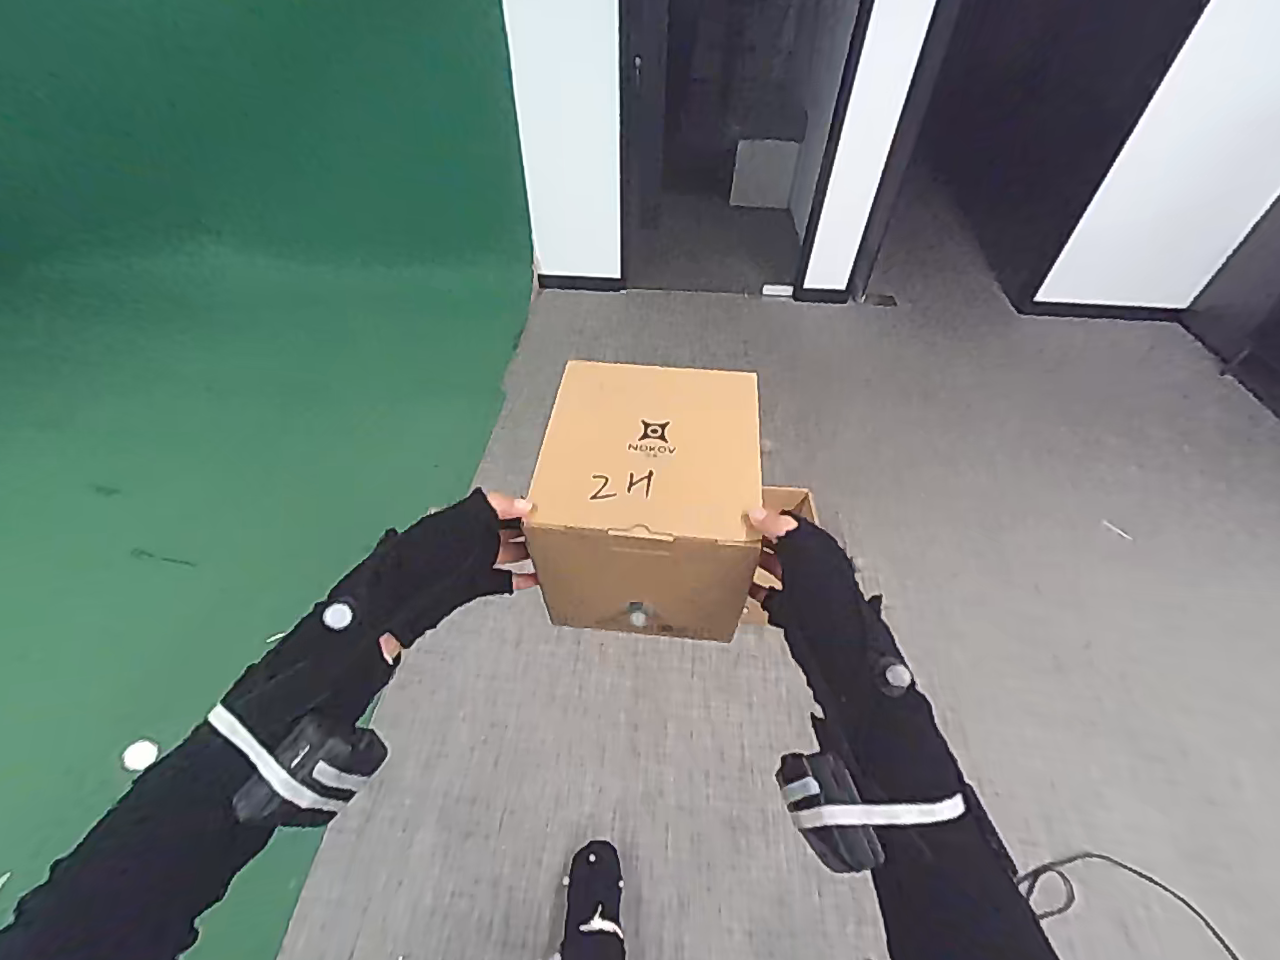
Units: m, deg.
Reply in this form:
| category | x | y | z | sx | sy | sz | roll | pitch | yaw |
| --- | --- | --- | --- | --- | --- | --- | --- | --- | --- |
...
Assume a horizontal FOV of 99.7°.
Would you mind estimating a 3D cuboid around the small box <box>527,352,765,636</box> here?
| category | x | y | z | sx | sy | sz | roll | pitch | yaw |
| --- | --- | --- | --- | --- | --- | --- | --- | --- | --- |
| small box | 0.012 | 0.014 | 0.476 | 0.168 | 0.176 | 0.179 | 6 | 52 | 5 |
